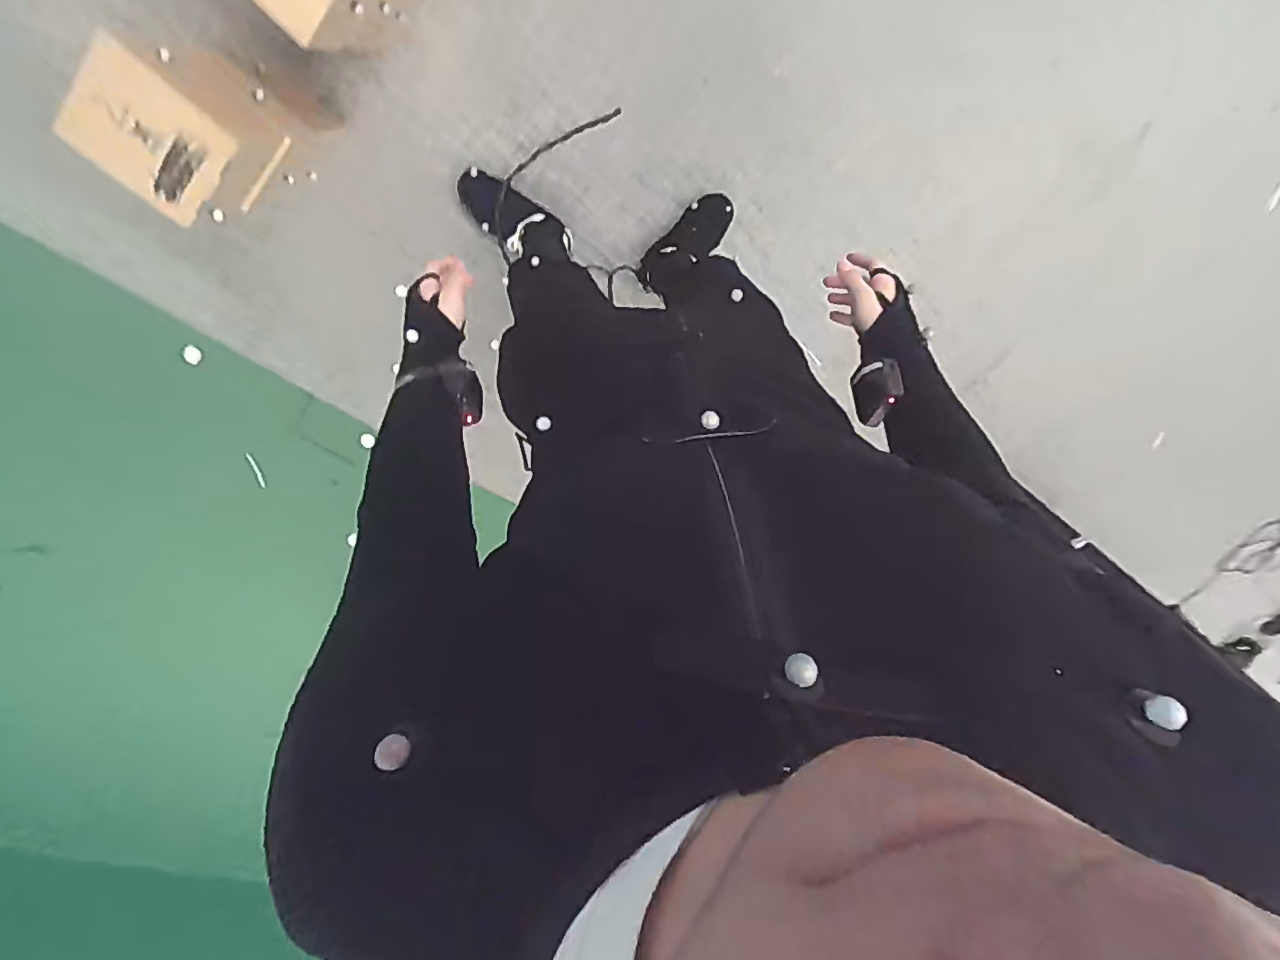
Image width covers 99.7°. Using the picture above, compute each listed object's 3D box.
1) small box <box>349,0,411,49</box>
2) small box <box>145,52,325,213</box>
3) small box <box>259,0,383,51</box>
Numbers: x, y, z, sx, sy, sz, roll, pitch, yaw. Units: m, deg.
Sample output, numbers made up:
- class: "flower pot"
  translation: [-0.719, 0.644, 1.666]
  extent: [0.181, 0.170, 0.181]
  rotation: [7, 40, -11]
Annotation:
- class: "small box"
  translation: [-0.468, -0.832, 0.861]
  extent: [0.179, 0.176, 0.168]
  rotation: [-41, 122, 19]
- class: "small box"
  translation: [-0.711, -0.623, 0.973]
  extent: [0.168, 0.176, 0.179]
  rotation: [-40, 121, 19]
- class: "small box"
  translation: [-0.452, -0.731, 0.734]
  extent: [0.179, 0.176, 0.168]
  rotation: [-38, 122, 19]
